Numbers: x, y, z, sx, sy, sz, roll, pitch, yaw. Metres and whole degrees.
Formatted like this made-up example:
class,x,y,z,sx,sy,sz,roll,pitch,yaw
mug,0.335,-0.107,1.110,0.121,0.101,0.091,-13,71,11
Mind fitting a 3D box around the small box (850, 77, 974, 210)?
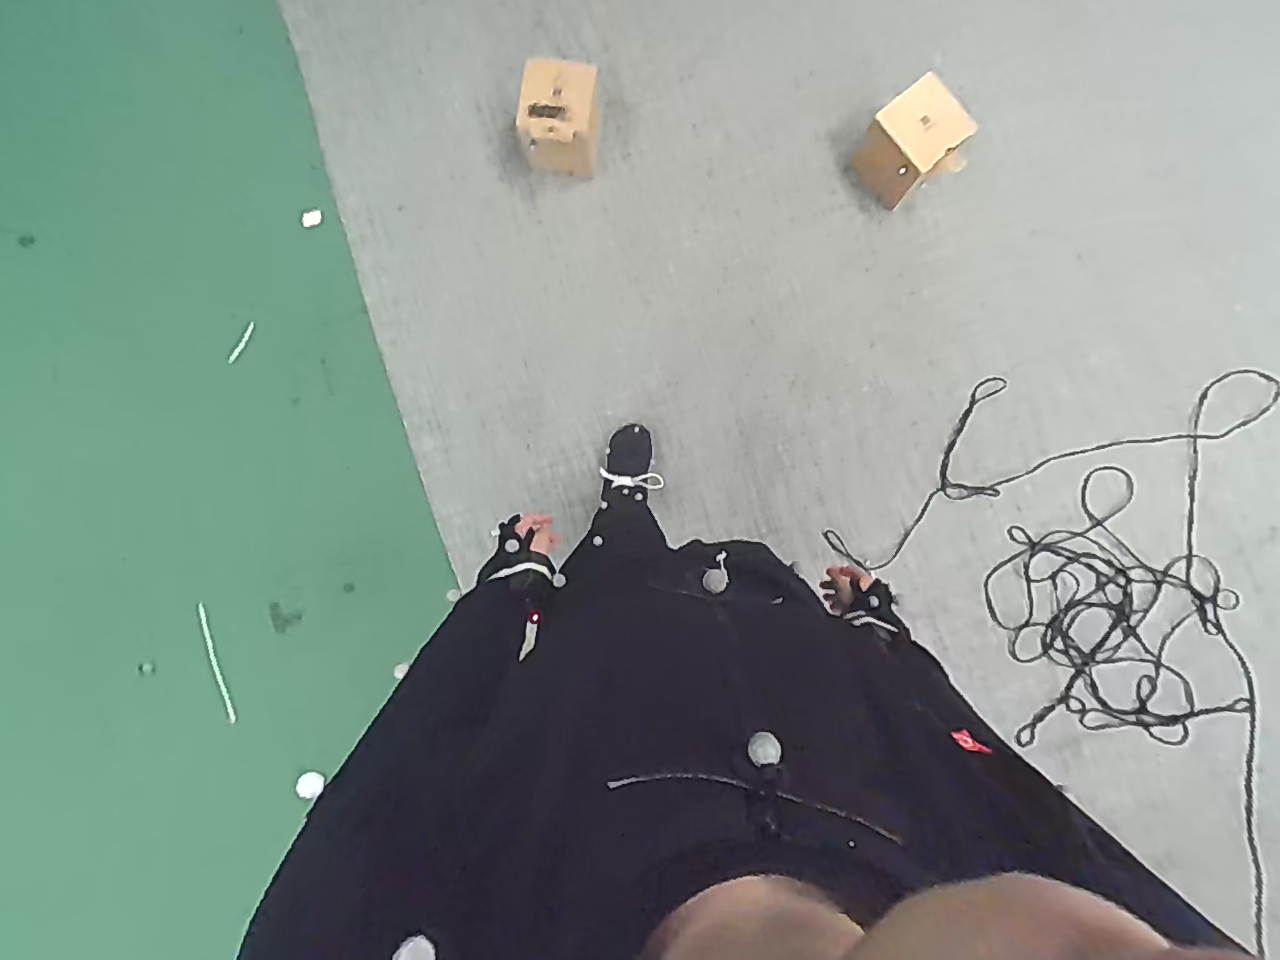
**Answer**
class,x,y,z,sx,sy,sz,roll,pitch,yaw
small box,0.643,-0.798,1.303,0.168,0.176,0.179,-39,88,0
